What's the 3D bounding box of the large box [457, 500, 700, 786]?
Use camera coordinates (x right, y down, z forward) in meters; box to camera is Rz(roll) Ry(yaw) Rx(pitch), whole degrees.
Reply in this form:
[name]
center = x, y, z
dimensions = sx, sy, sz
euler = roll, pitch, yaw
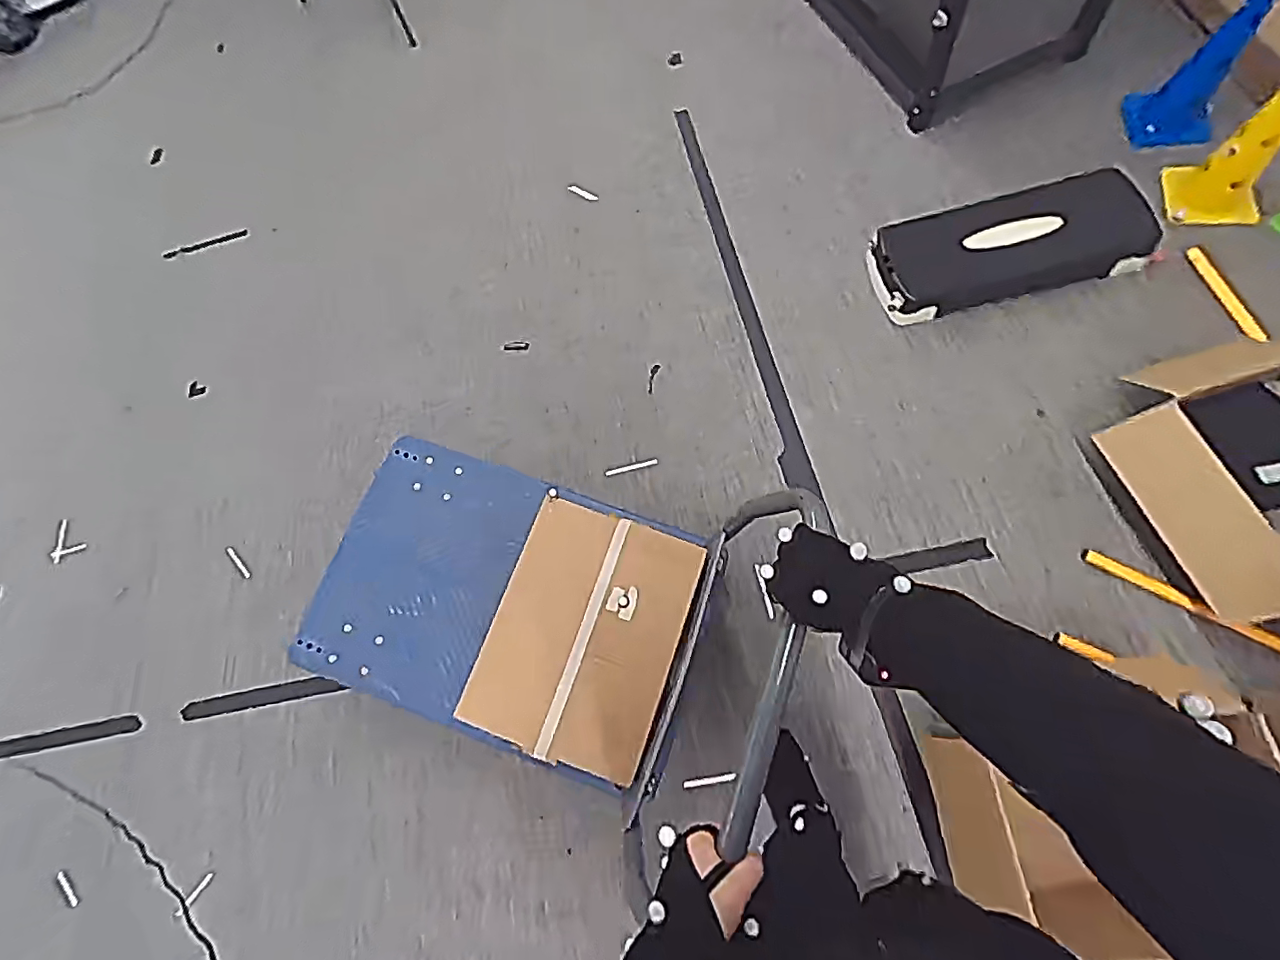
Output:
[large box]
center = -0.093, 0.305, 1.058
dimensions = 0.320, 0.320, 0.408
euler = 18, 74, 6
